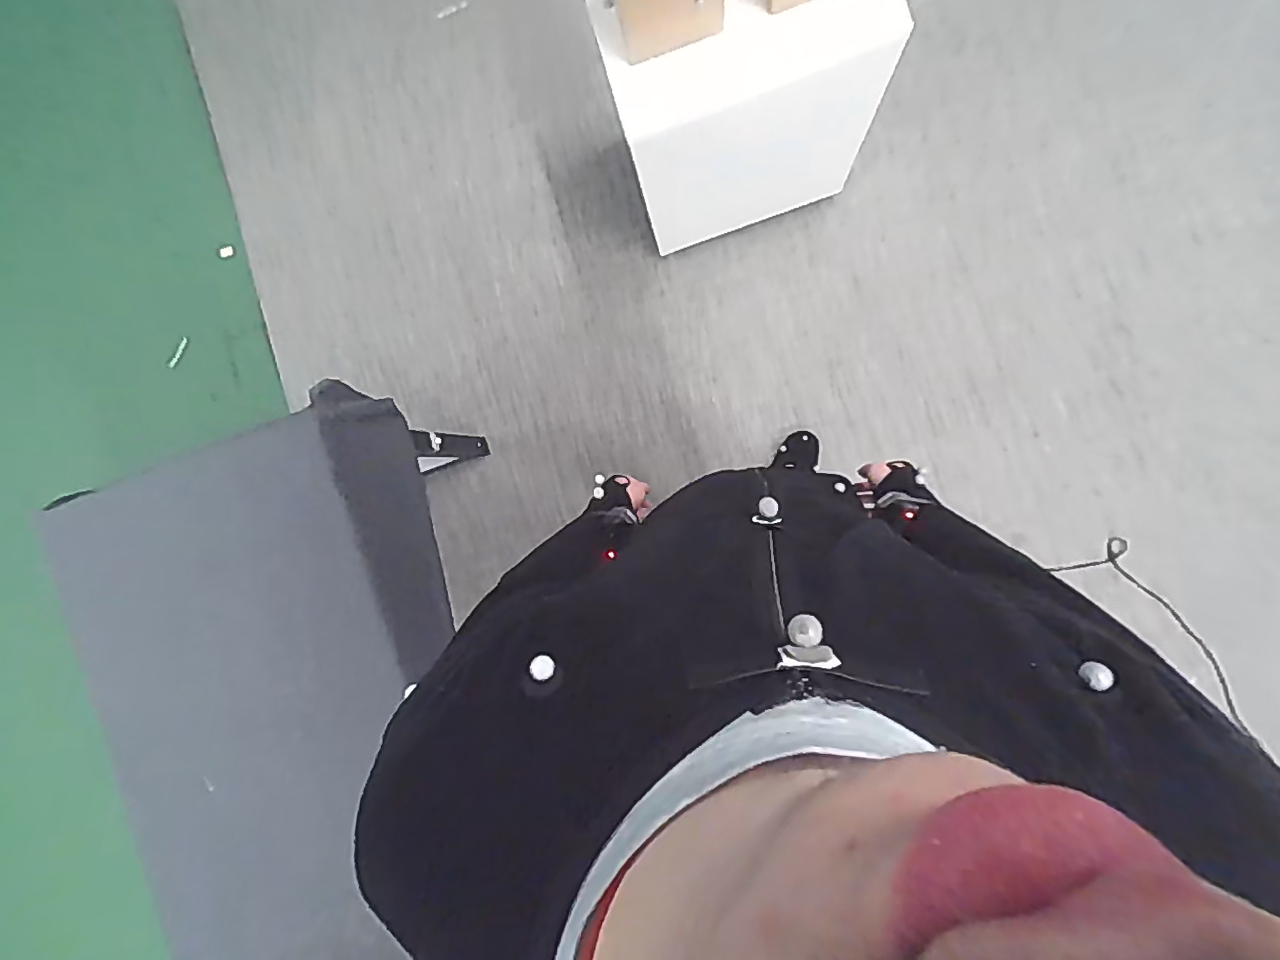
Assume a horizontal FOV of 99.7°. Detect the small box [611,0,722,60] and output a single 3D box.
[{"bbox_3d":[0.032,-0.833,0.864,0.179,0.176,0.168,-16,89,8],"label":"small box"}]
